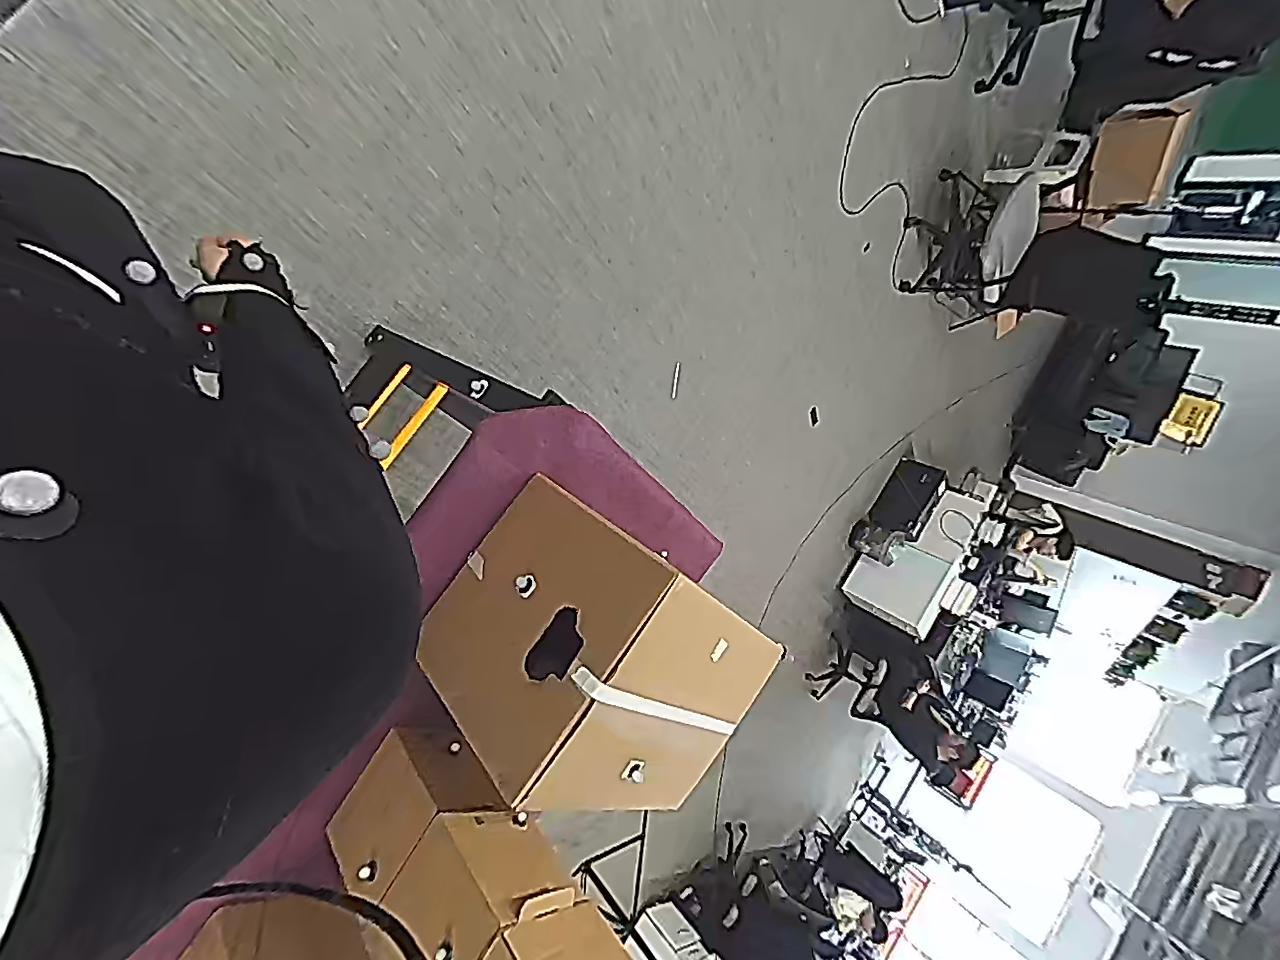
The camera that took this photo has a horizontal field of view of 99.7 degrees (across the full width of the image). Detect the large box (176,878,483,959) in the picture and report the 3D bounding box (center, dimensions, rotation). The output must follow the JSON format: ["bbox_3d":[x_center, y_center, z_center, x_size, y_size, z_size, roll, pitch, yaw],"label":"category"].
[{"bbox_3d":[-0.452,0.829,0.743,0.320,0.320,0.408,-55,141,-7],"label":"large box"}]

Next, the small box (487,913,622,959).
[{"bbox_3d":[-0.099,0.632,0.599,0.179,0.176,0.168,36,84,-49],"label":"small box"}]
